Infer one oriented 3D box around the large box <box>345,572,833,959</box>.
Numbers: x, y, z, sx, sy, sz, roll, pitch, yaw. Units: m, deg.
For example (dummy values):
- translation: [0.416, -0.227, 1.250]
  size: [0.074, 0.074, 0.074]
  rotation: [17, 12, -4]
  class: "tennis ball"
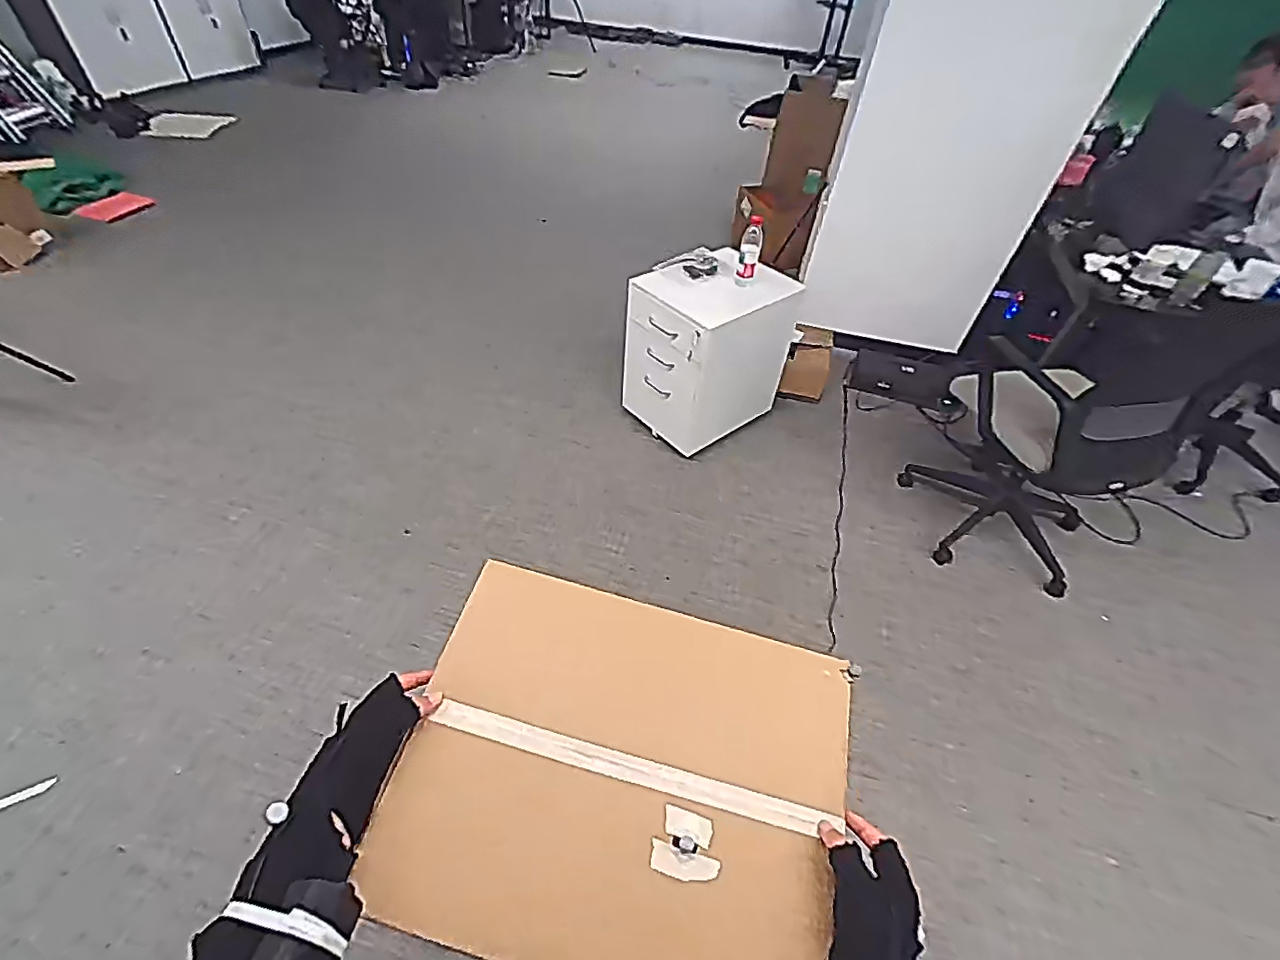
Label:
- translation: [-0.032, 0.352, 0.636]
  size: [0.408, 0.320, 0.320]
  rotation: [15, 57, 4]
  class: "large box"
